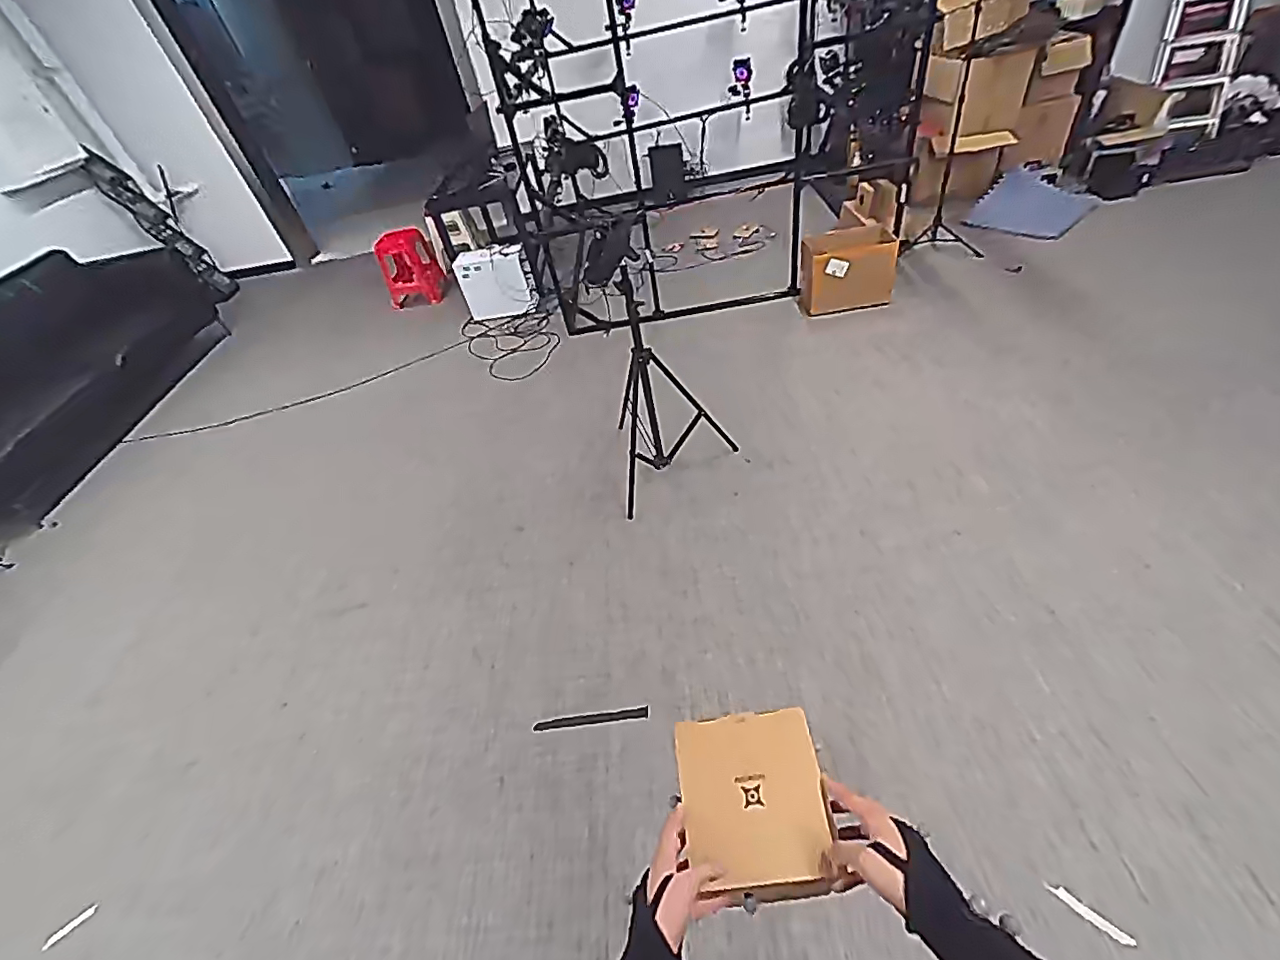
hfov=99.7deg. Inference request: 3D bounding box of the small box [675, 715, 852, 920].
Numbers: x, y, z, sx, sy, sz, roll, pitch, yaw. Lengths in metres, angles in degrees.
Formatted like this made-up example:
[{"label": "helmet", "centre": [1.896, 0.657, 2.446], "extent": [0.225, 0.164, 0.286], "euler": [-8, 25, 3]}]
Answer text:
[{"label": "small box", "centre": [0.141, 0.415, 0.660], "extent": [0.168, 0.176, 0.179], "euler": [-9, 44, 2]}]
